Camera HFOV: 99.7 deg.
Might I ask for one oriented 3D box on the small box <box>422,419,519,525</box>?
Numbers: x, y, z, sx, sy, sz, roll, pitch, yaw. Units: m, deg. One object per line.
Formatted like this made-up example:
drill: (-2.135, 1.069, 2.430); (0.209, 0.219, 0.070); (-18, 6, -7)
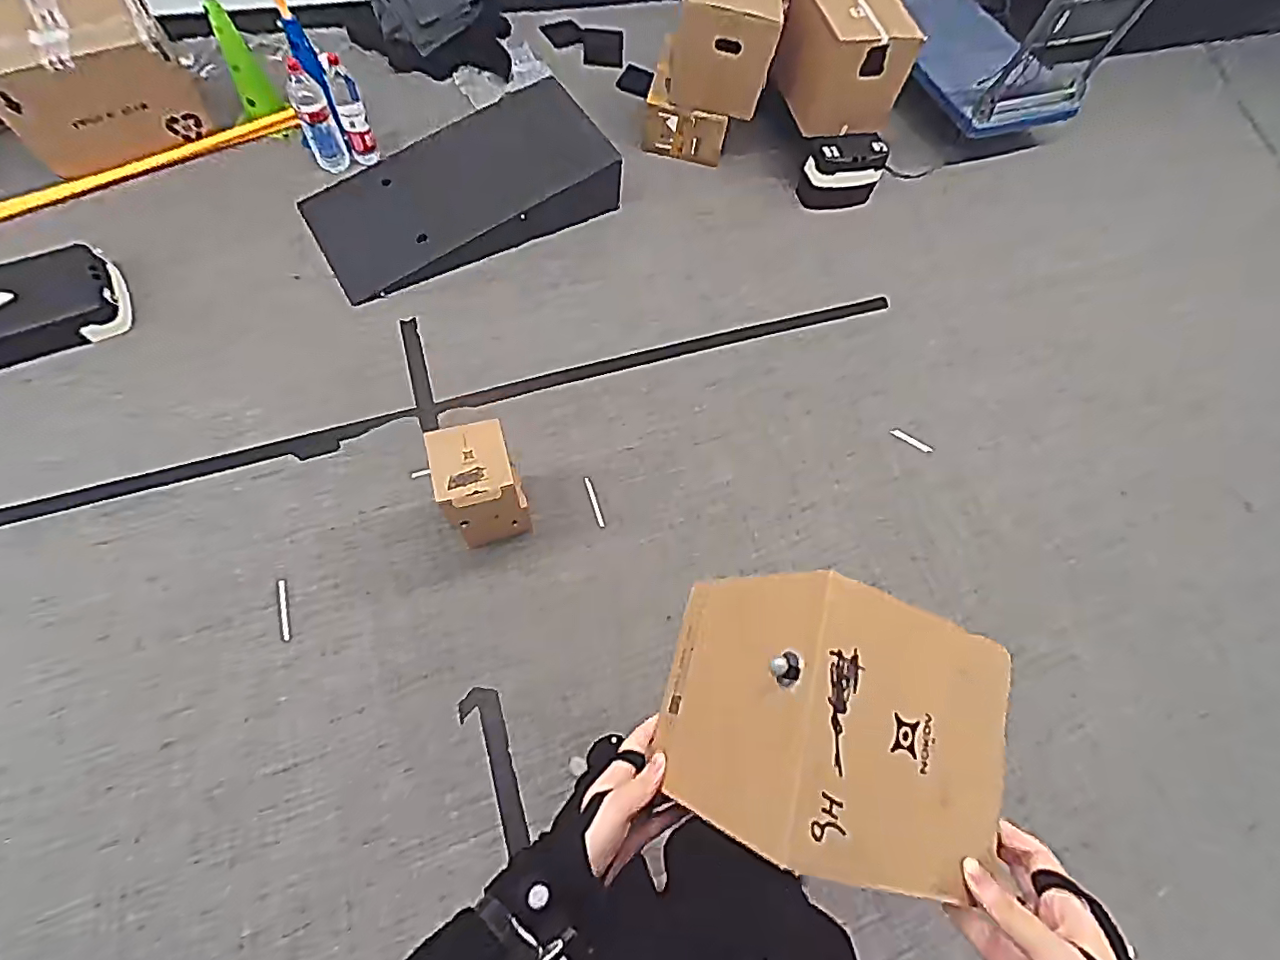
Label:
small box: (-0.379, -0.011, 1.231); (0.168, 0.176, 0.179); (-14, 67, -13)

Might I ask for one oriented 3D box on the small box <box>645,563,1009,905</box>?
small box: (0.132, 0.171, 0.401); (0.179, 0.176, 0.168); (26, 68, -20)

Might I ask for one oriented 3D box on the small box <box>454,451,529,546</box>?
small box: (-0.389, 0.051, 1.382); (0.179, 0.176, 0.168); (-17, 69, -13)
